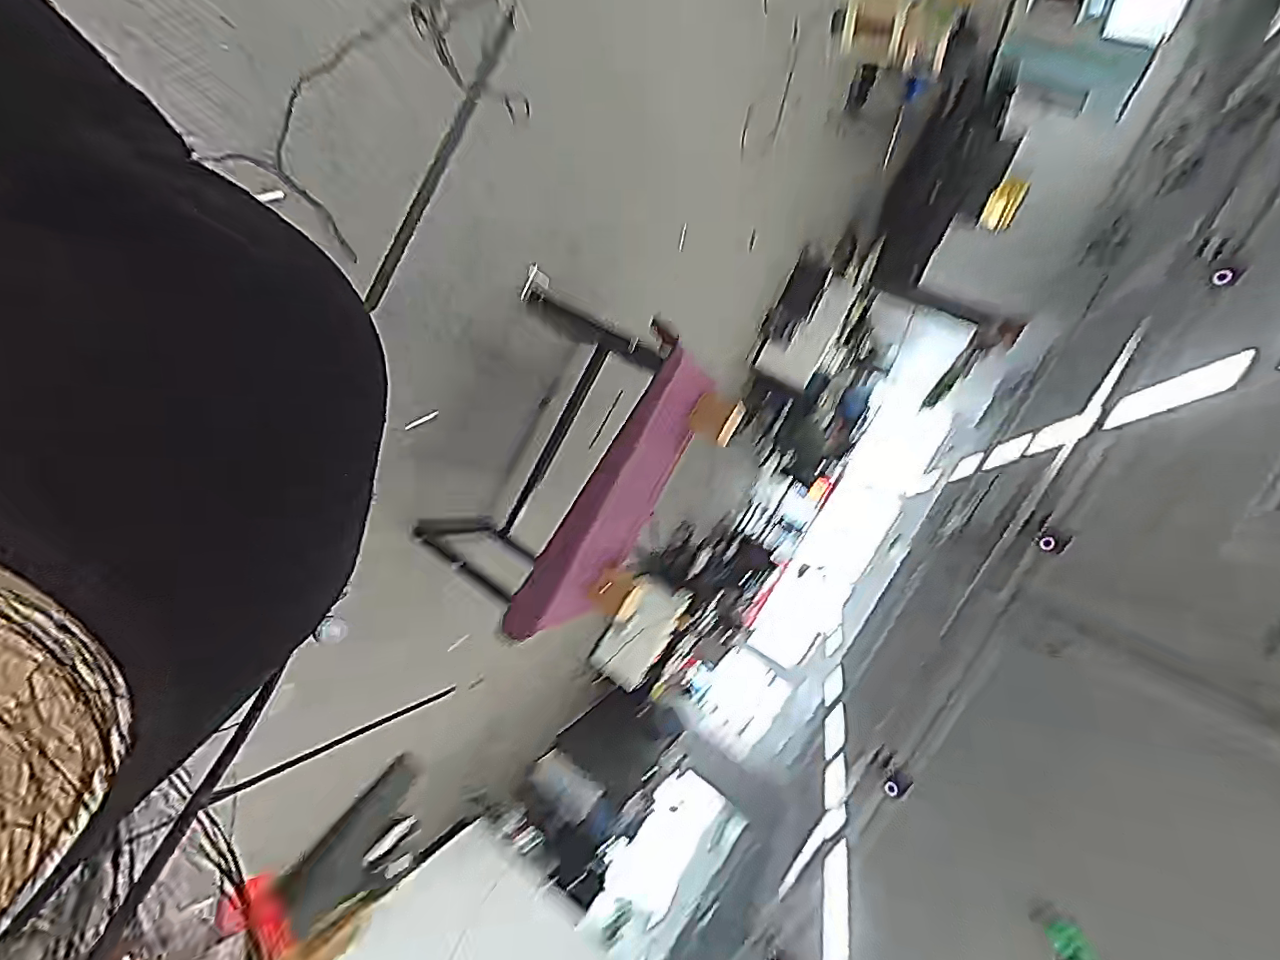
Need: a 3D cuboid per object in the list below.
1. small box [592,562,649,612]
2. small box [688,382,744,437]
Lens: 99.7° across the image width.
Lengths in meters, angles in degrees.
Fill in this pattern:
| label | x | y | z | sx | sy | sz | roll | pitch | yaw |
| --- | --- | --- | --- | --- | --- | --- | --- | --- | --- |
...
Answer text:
| label | x | y | z | sx | sy | sz | roll | pitch | yaw |
| --- | --- | --- | --- | --- | --- | --- | --- | --- | --- |
| small box | -0.092 | 0.488 | 2.493 | 0.168 | 0.176 | 0.179 | -61 | 157 | 2 |
| small box | 0.339 | -0.316 | 2.409 | 0.168 | 0.176 | 0.179 | -61 | 159 | 2 |
